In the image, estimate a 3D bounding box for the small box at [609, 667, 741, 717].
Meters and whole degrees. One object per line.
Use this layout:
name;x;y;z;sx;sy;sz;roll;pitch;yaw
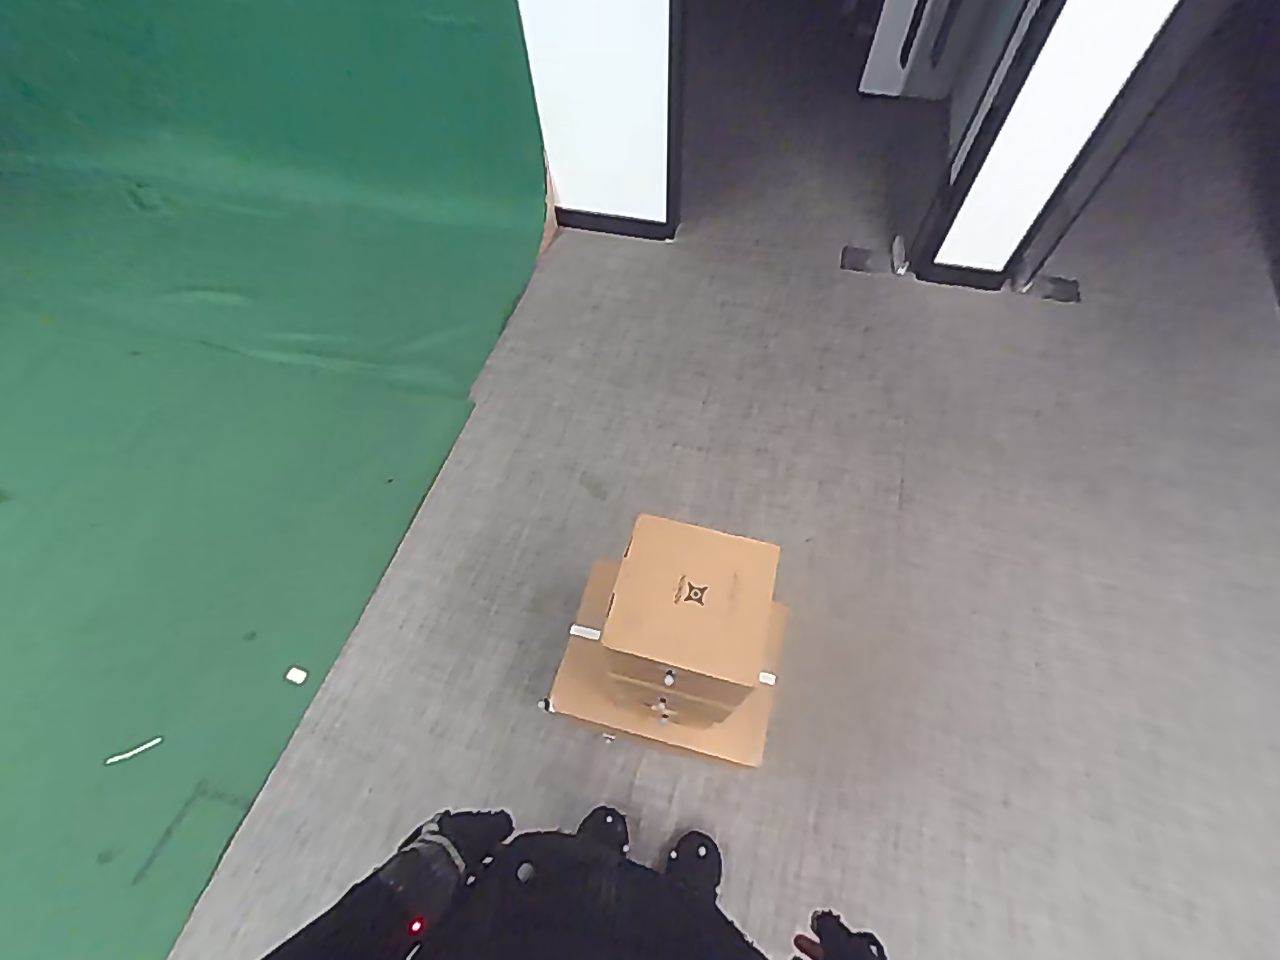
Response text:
small box;0.061;0.252;0.818;0.179;0.176;0.168;10;62;7

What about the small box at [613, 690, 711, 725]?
small box;0.059;0.325;0.966;0.168;0.176;0.179;11;62;8

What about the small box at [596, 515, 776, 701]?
small box;0.058;0.167;0.680;0.179;0.176;0.168;13;63;8
